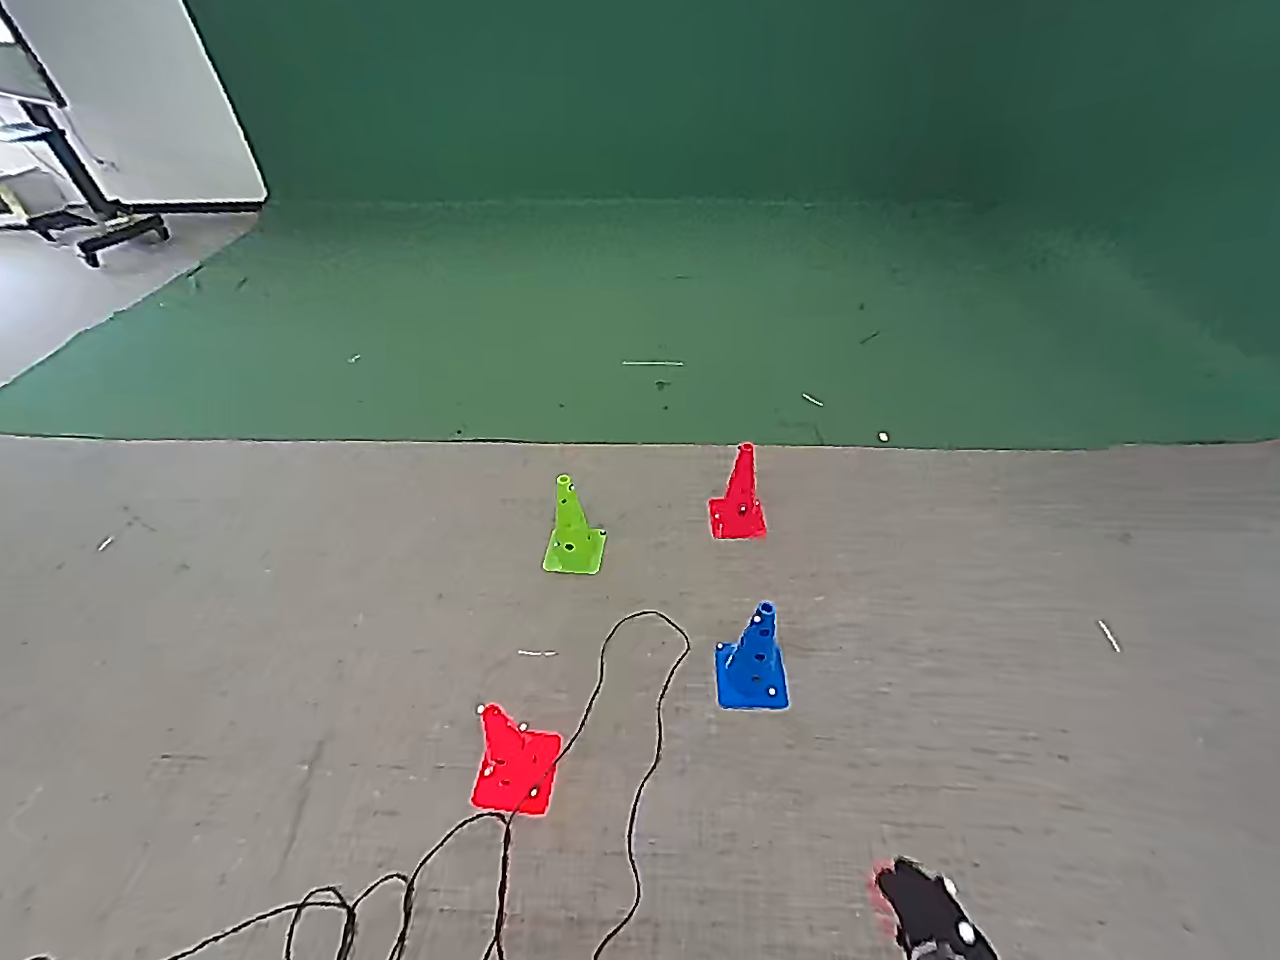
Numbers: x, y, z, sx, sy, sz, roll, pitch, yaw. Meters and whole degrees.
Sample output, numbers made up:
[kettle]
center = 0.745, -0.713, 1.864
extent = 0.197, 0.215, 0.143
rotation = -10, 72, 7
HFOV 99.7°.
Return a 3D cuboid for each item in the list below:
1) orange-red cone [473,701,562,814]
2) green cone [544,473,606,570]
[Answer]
[orange-red cone]
center = -0.316, 0.624, 1.296
extent = 0.198, 0.360, 0.199
rotation = 5, 43, 6
[green cone]
center = -0.236, 0.116, 1.816
extent = 0.200, 0.368, 0.202
rotation = 2, 45, 5
